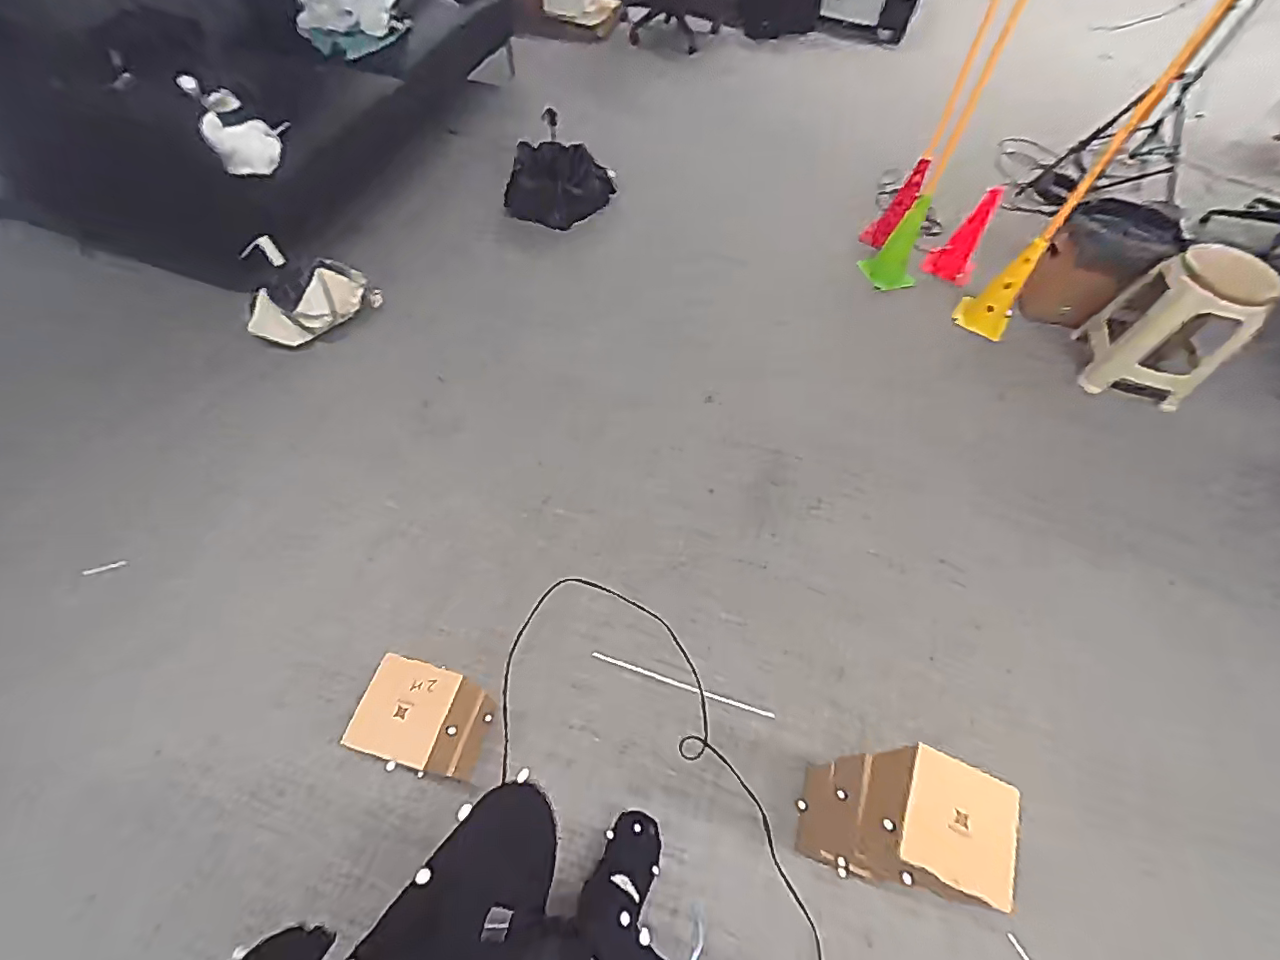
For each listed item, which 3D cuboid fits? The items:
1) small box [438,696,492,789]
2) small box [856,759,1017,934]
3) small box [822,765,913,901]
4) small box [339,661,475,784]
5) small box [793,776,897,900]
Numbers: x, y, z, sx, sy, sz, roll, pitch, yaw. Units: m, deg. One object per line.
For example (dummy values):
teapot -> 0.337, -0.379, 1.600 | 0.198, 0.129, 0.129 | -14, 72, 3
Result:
small box -> -0.449, 0.577, 1.220 | 0.168, 0.176, 0.179 | 15, 58, 6
small box -> 0.481, 0.592, 0.892 | 0.168, 0.176, 0.179 | 24, 60, 10
small box -> 0.463, 0.674, 1.032 | 0.168, 0.176, 0.179 | 20, 58, 8
small box -> -0.450, 0.489, 1.081 | 0.168, 0.176, 0.179 | 15, 58, 6
small box -> 0.446, 0.765, 1.171 | 0.168, 0.176, 0.179 | 18, 60, 4
